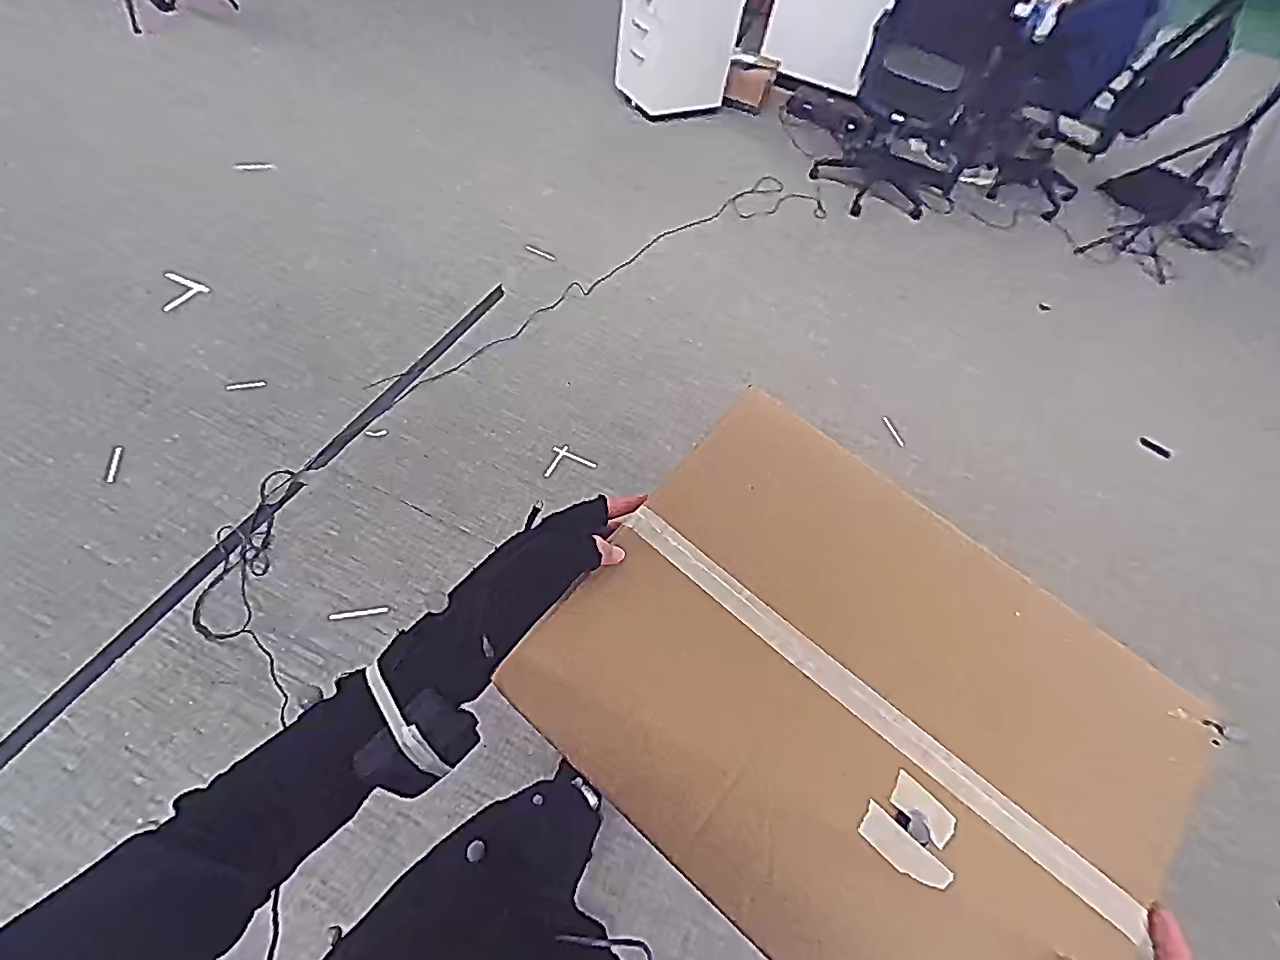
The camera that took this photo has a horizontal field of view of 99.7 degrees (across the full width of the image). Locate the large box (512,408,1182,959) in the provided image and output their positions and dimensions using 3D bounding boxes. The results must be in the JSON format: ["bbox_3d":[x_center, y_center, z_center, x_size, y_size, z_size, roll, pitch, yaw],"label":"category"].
[{"bbox_3d":[0.145,0.212,0.529,0.408,0.320,0.320,39,72,12],"label":"large box"}]
